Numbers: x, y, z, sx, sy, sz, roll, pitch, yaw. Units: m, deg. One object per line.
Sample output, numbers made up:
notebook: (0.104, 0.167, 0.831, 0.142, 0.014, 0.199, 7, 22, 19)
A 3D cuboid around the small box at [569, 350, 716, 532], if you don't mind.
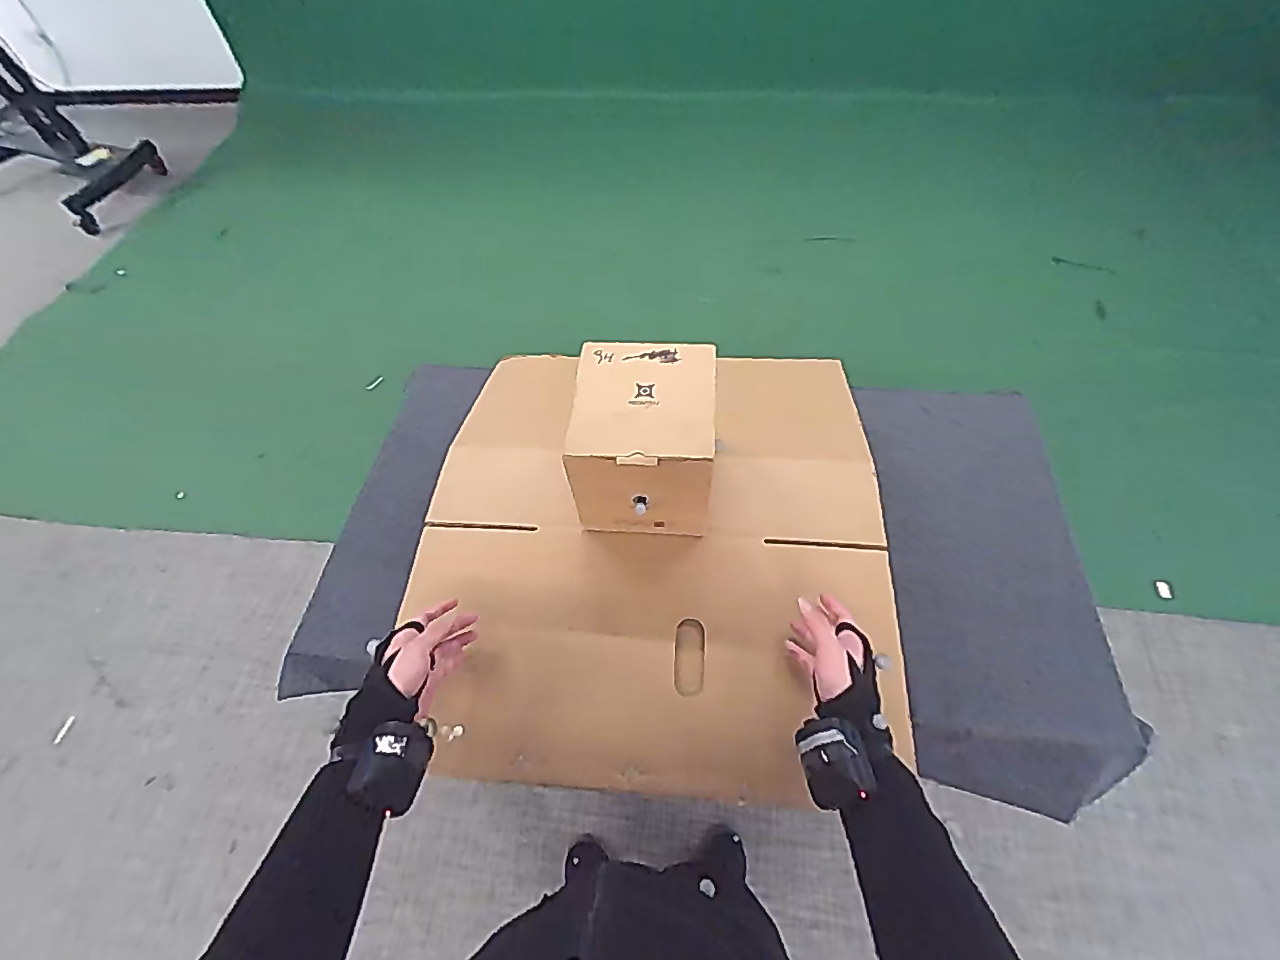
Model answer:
small box: (0.012, -0.043, 0.695, 0.168, 0.176, 0.179, 0, 56, 4)
